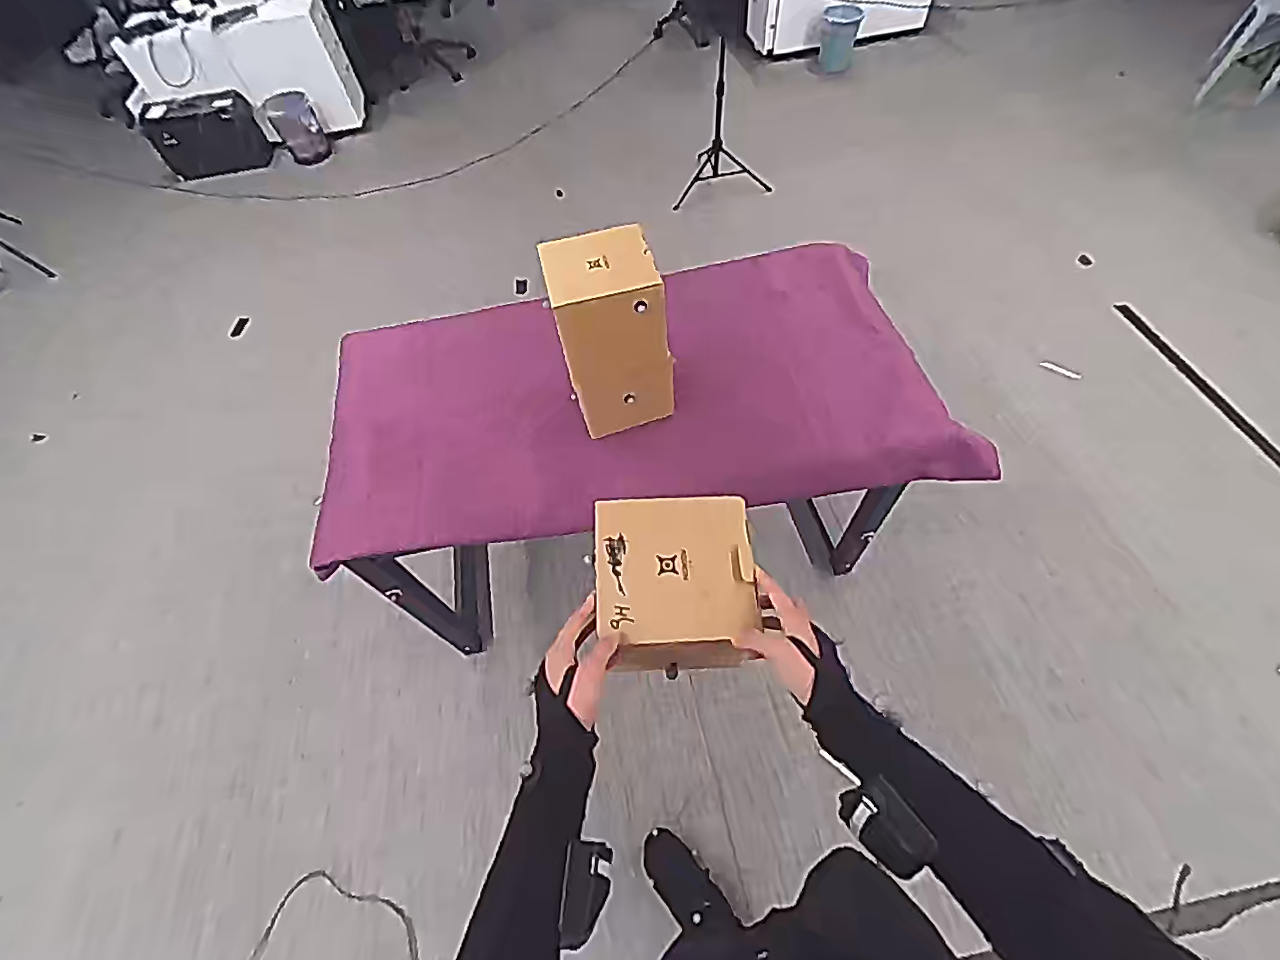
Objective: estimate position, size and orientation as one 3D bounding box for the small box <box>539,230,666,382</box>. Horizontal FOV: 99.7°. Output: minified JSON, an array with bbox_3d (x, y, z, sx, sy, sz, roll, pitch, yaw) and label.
[{"bbox_3d":[-0.059,-0.290,0.923,0.179,0.176,0.168,-14,57,-4],"label":"small box"}]

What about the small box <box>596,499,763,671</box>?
[{"bbox_3d":[0.035,0.133,0.659,0.179,0.176,0.168,-1,61,-3],"label":"small box"}]
